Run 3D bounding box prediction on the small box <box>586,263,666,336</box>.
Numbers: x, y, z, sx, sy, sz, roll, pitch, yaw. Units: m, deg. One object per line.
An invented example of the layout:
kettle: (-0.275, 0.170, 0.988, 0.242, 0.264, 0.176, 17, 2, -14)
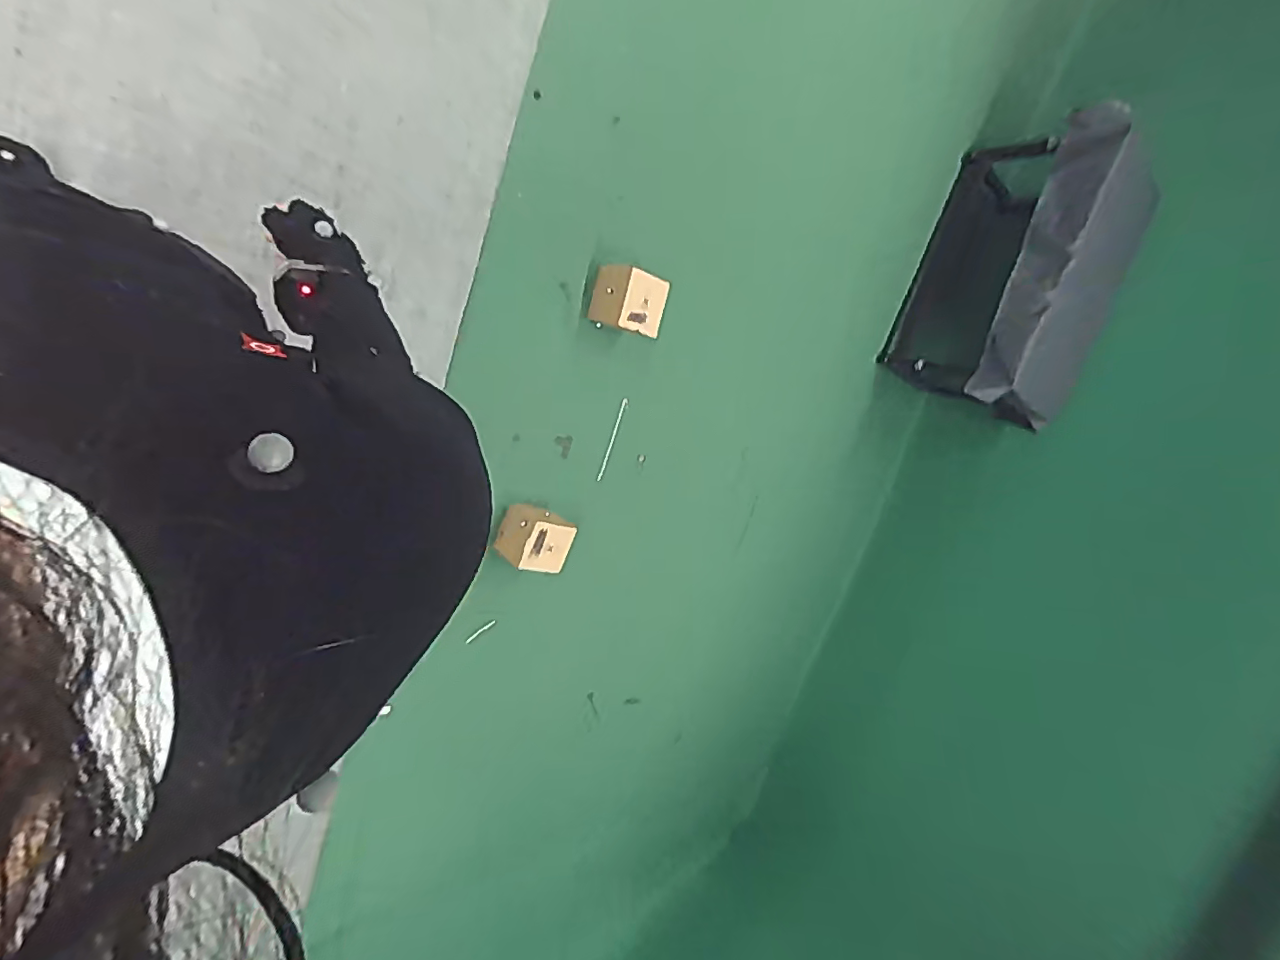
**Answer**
small box: (-0.051, -0.575, 1.718, 0.168, 0.176, 0.179, 5, 105, -45)
